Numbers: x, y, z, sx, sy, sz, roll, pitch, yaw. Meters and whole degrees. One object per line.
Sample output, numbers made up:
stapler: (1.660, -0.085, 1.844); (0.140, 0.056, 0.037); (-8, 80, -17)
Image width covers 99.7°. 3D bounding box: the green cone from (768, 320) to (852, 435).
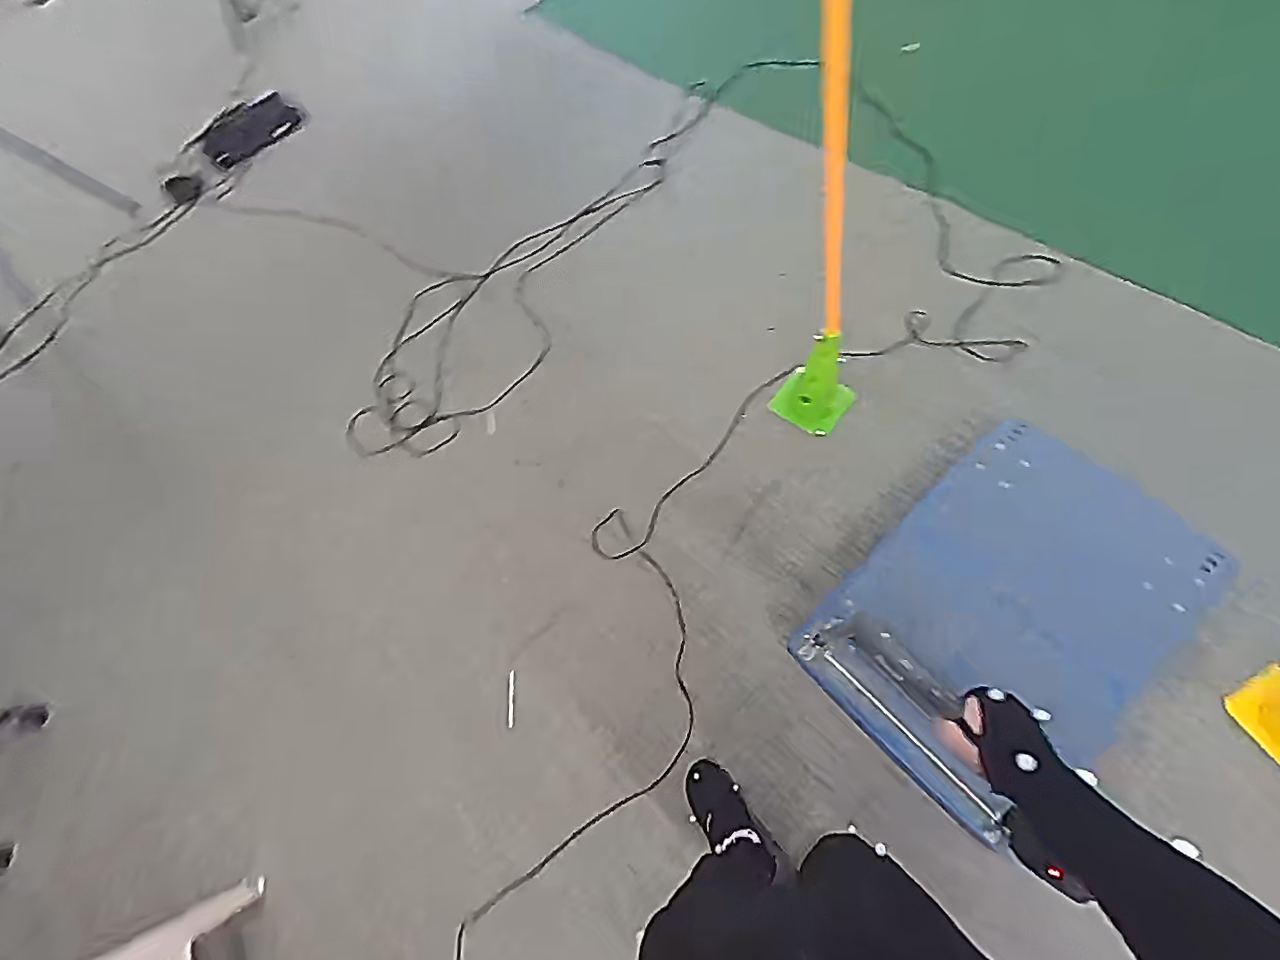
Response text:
green cone: (0.503, -0.321, 1.534); (0.202, 0.368, 0.200); (34, 76, 21)
